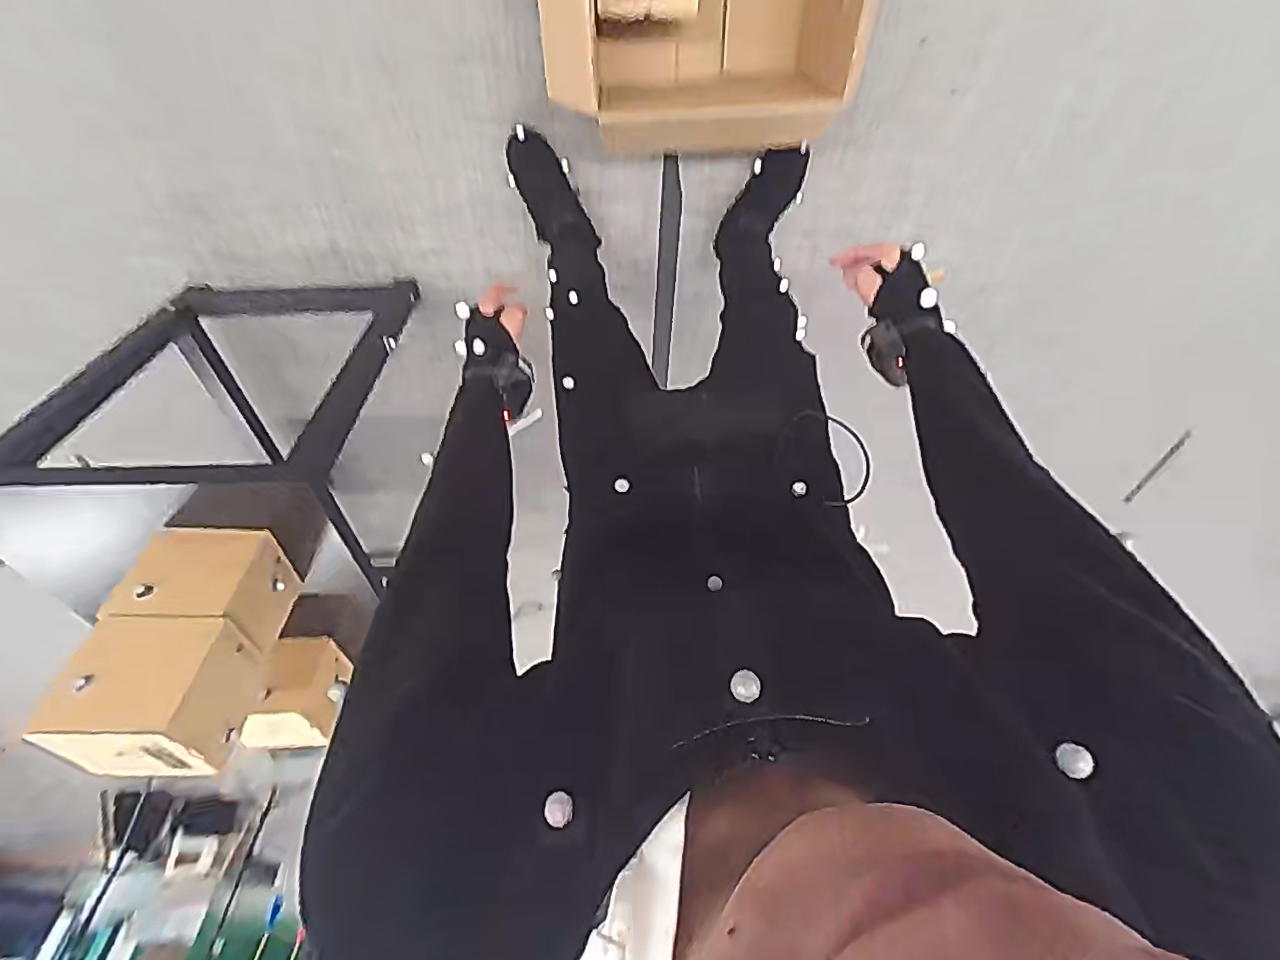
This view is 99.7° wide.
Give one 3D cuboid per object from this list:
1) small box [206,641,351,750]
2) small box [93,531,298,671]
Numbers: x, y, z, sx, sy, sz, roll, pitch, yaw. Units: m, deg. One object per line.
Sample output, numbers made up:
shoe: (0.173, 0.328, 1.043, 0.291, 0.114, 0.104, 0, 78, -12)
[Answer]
small box: (-0.760, 0.460, 1.162, 0.179, 0.176, 0.168, -1, 135, -2)
small box: (-0.718, 0.199, 0.900, 0.179, 0.176, 0.168, 3, 136, -5)
